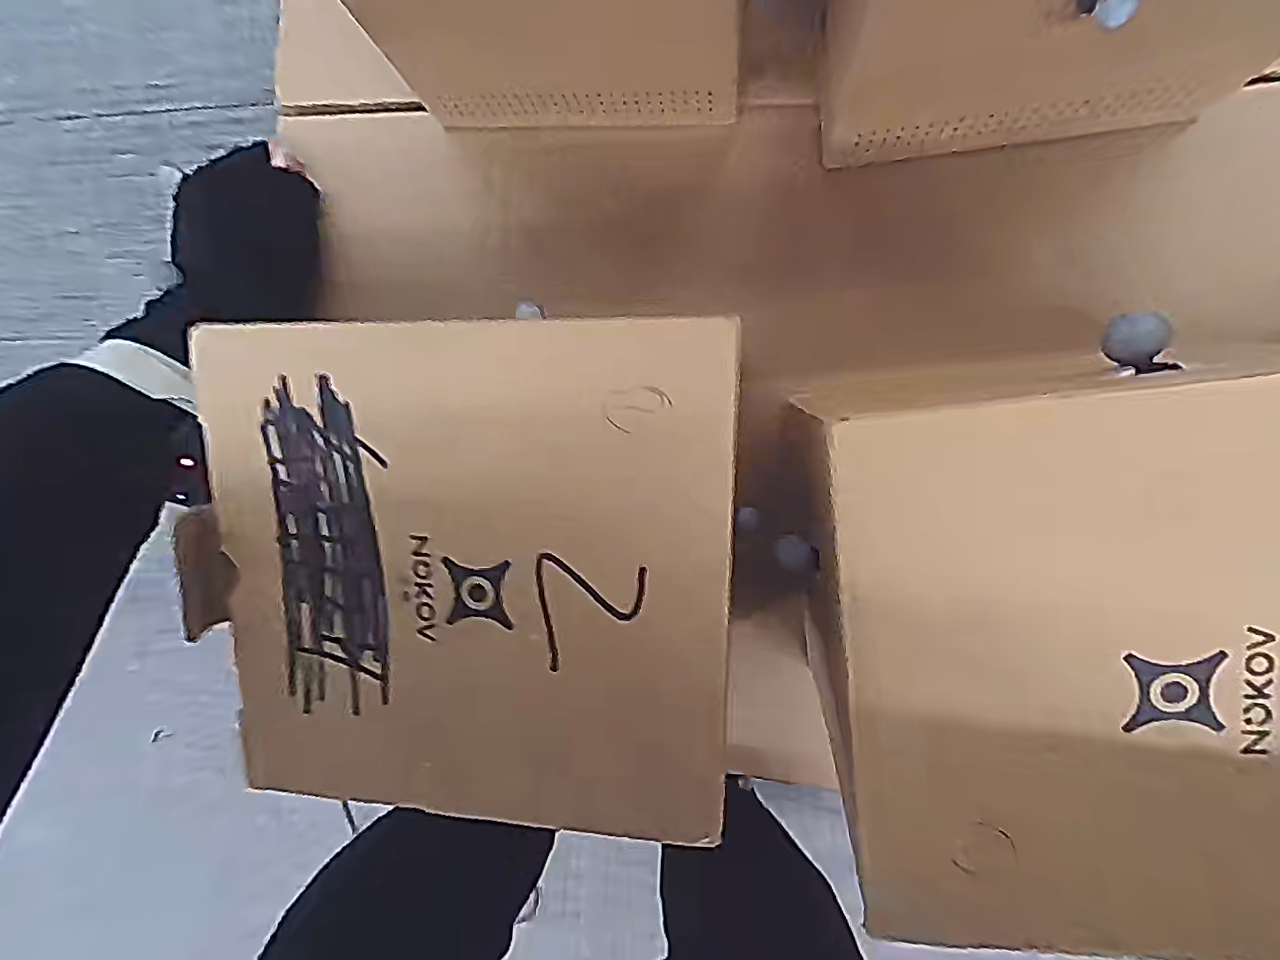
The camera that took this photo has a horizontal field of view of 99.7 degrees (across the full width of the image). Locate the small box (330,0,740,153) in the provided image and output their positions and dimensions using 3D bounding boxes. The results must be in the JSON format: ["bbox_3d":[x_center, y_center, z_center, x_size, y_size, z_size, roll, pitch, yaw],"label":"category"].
[{"bbox_3d":[-0.038,-0.278,0.245,0.179,0.176,0.168,6,90,9],"label":"small box"}]
